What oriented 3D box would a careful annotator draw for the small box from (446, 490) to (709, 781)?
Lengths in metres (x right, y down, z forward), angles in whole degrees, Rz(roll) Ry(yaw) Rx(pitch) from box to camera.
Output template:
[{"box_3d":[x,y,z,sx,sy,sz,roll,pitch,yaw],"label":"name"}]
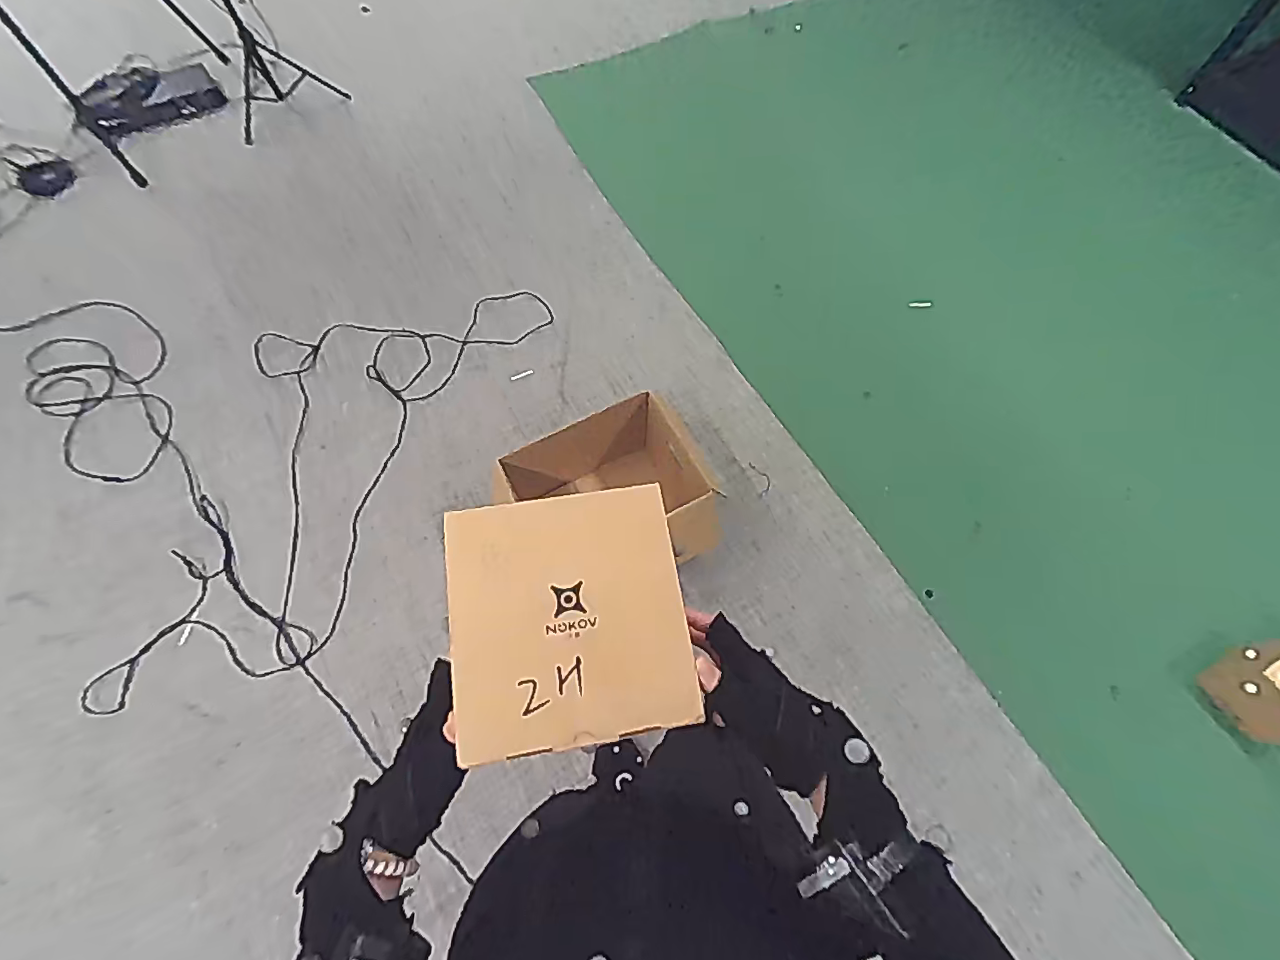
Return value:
[{"box_3d":[-0.054,0.125,0.445,0.168,0.176,0.179,-8,71,-7],"label":"small box"}]
